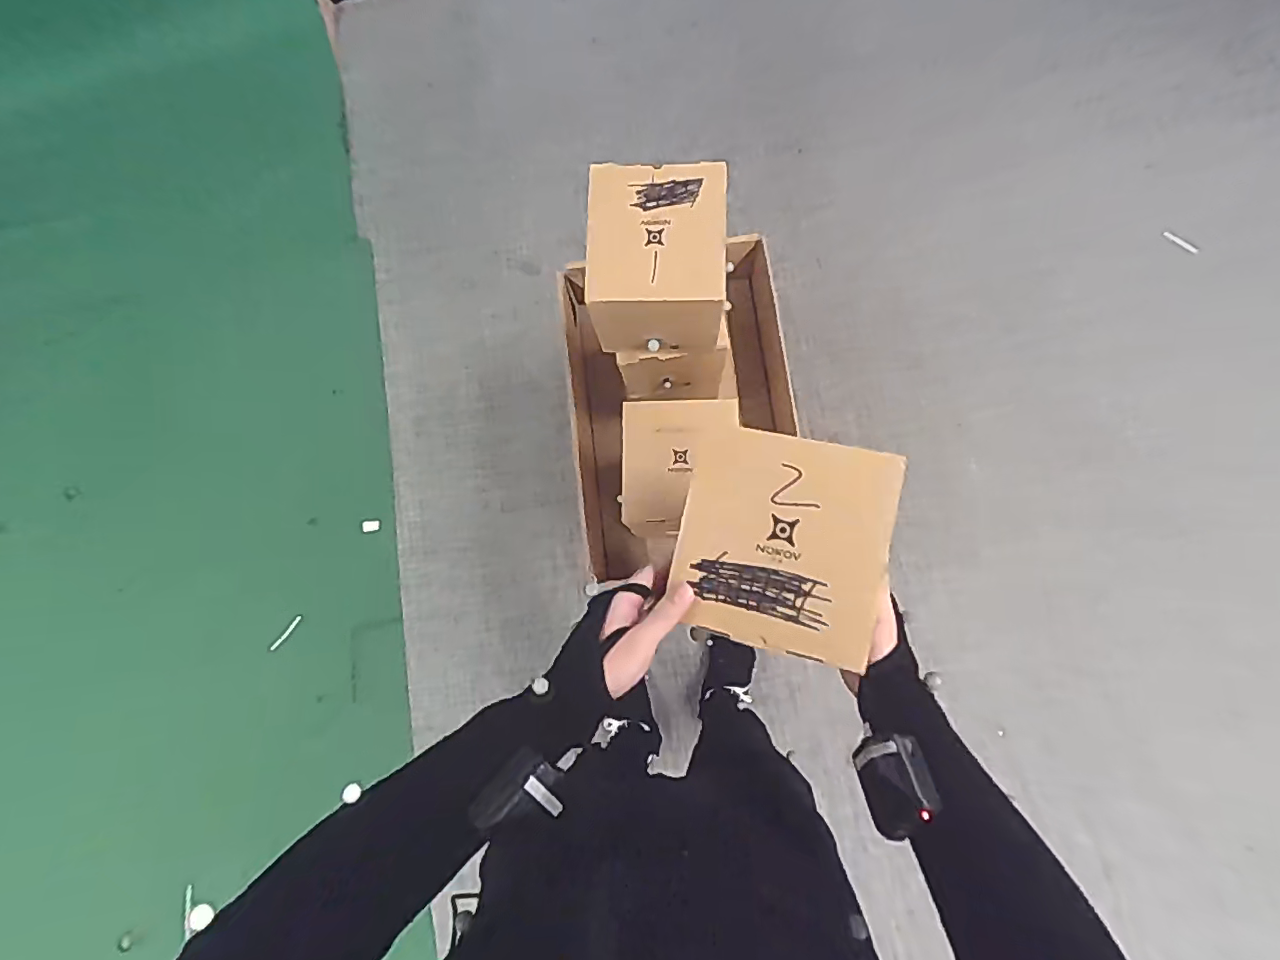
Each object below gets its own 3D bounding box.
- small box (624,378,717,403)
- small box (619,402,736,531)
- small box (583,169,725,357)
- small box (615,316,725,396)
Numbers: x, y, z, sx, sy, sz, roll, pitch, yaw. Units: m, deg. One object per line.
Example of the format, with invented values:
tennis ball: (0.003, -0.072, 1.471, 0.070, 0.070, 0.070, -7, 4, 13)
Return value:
small box: (0.050, -0.231, 1.041, 0.168, 0.176, 0.179, -8, 82, 4)
small box: (0.059, -0.012, 0.836, 0.168, 0.176, 0.179, 0, 80, 4)
small box: (0.022, -0.278, 0.720, 0.168, 0.176, 0.179, 1, 83, 4)
small box: (0.038, -0.252, 0.881, 0.168, 0.176, 0.179, -8, 82, 2)
